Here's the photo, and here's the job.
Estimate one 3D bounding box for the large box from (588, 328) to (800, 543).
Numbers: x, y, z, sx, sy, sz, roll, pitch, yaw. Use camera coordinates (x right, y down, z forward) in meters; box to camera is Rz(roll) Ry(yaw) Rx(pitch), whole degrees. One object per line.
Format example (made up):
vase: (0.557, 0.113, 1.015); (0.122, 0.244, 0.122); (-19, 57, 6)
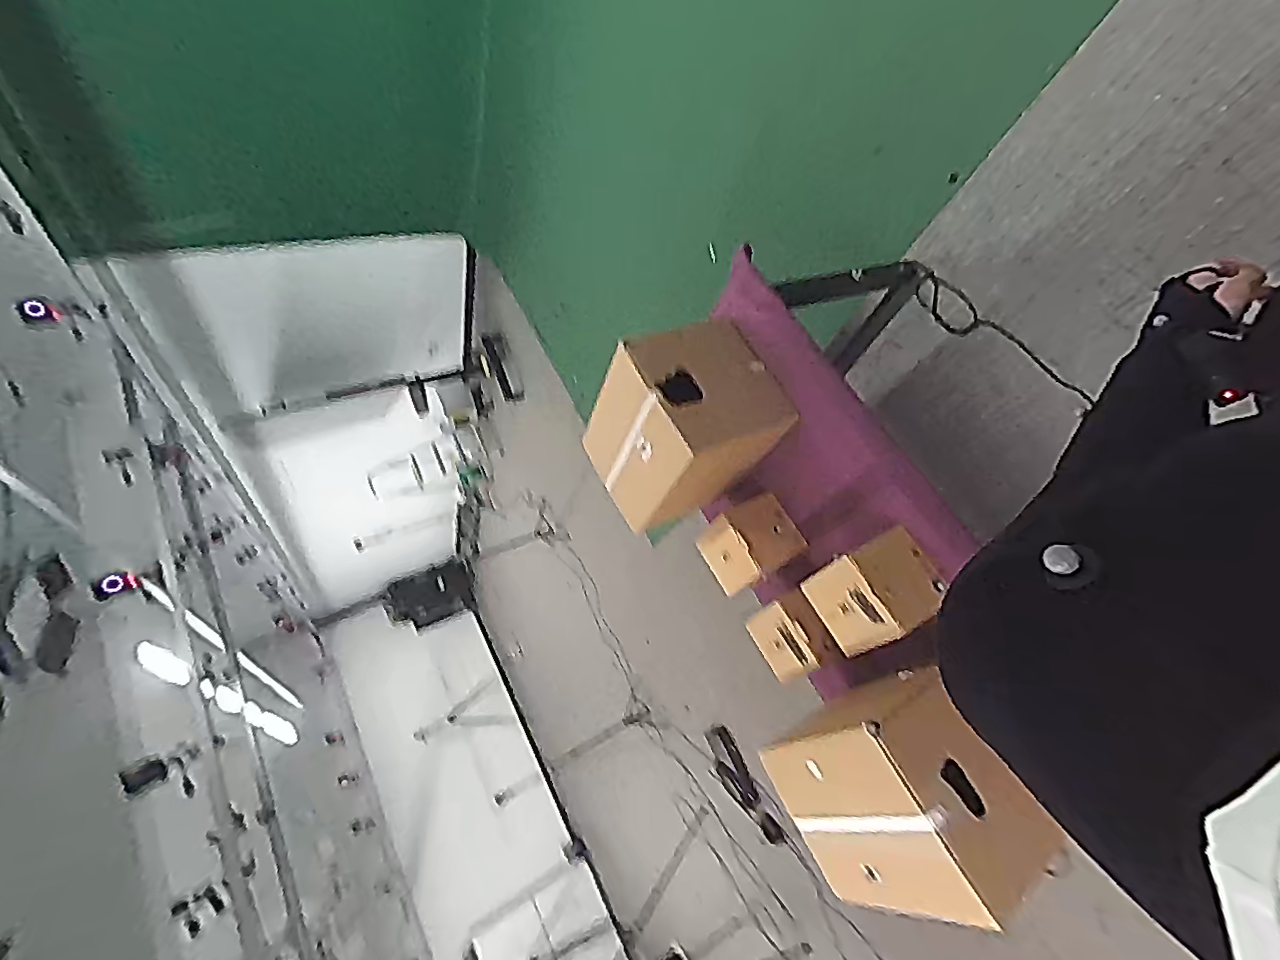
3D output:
large box: (0.110, -0.105, 1.337); (0.320, 0.320, 0.408); (58, 148, 19)
